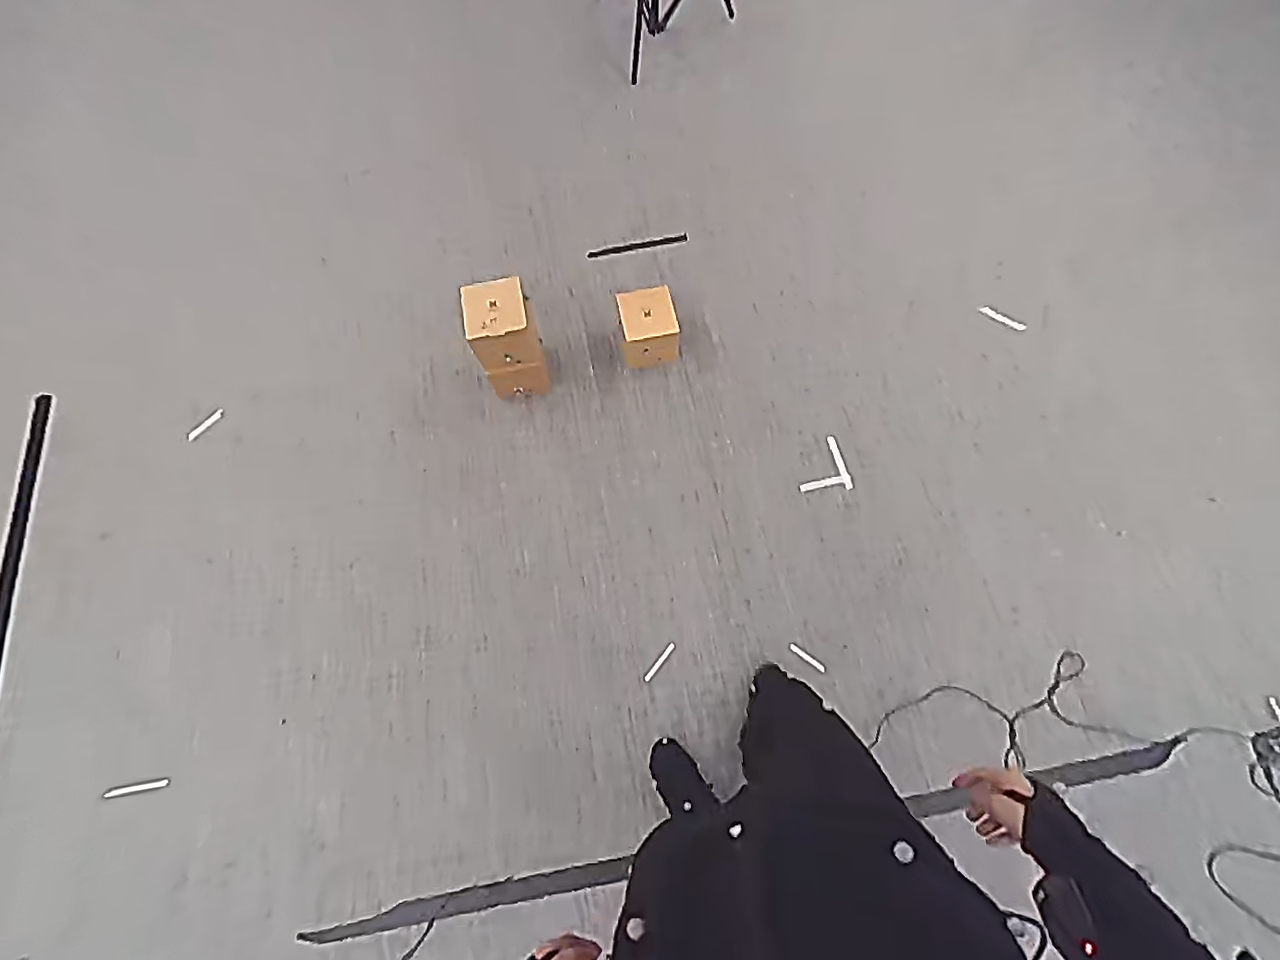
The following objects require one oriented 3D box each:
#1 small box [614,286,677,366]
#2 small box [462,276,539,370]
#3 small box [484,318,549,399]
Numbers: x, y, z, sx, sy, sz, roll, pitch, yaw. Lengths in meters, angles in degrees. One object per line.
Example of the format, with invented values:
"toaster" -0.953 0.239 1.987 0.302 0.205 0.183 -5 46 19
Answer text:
"small box" 0.019 -0.479 1.714 0.168 0.176 0.179 -12 70 -3
"small box" -0.393 -0.440 1.532 0.168 0.176 0.179 -12 71 -1
"small box" -0.387 -0.378 1.683 0.168 0.176 0.179 -11 70 -2
